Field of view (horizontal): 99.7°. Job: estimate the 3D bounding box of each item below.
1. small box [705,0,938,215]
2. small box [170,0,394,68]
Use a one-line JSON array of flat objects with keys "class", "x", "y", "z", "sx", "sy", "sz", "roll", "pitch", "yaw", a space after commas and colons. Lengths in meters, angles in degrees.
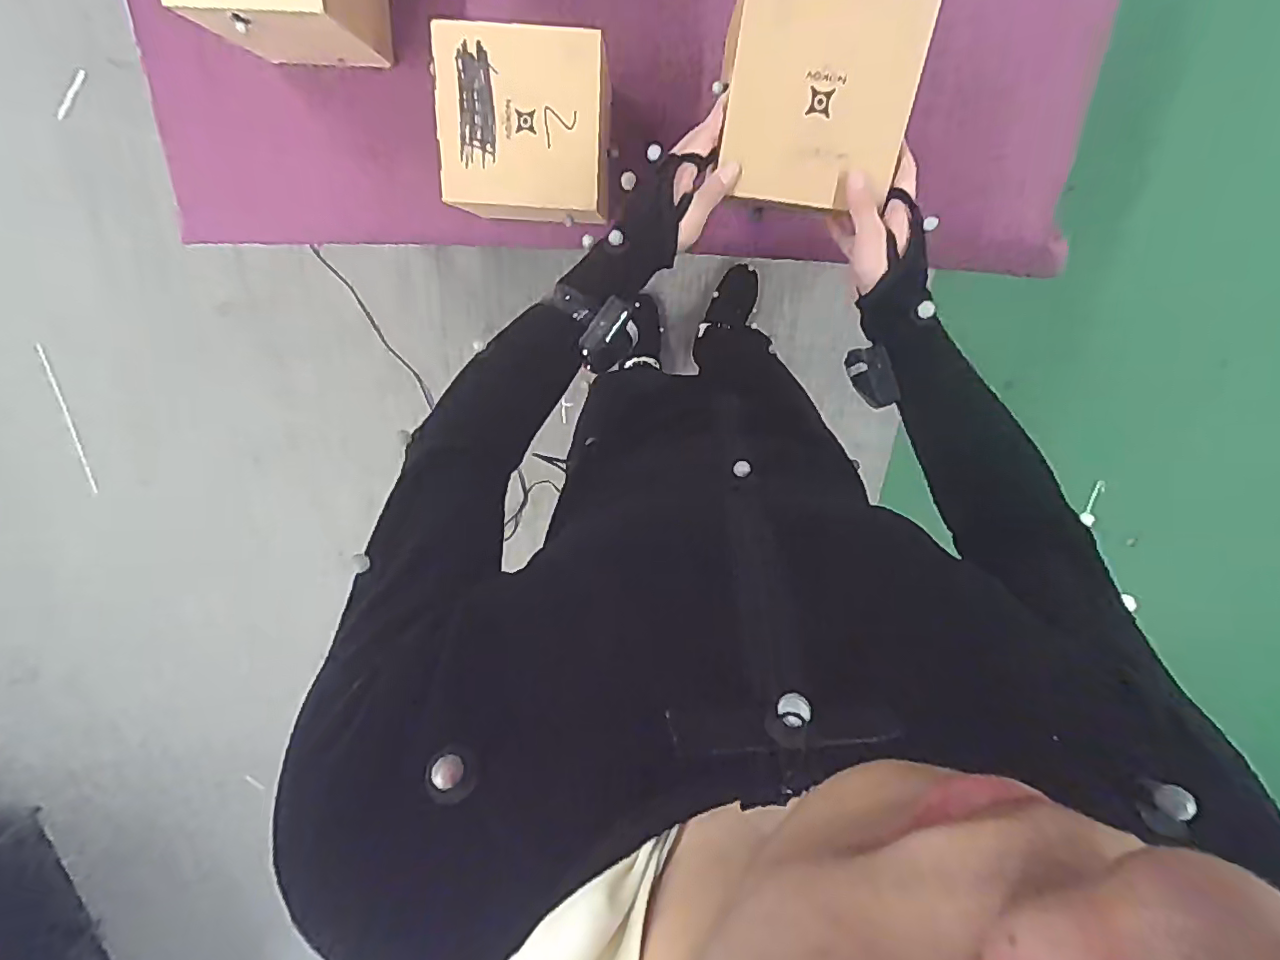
[{"class": "small box", "x": 0.164, "y": -0.383, "z": 0.554, "sx": 0.168, "sy": 0.176, "sz": 0.179, "roll": 8, "pitch": 114, "yaw": -1}, {"class": "small box", "x": -0.388, "y": -0.581, "z": 0.582, "sx": 0.168, "sy": 0.176, "sz": 0.179, "roll": 4, "pitch": 112, "yaw": 1}]
